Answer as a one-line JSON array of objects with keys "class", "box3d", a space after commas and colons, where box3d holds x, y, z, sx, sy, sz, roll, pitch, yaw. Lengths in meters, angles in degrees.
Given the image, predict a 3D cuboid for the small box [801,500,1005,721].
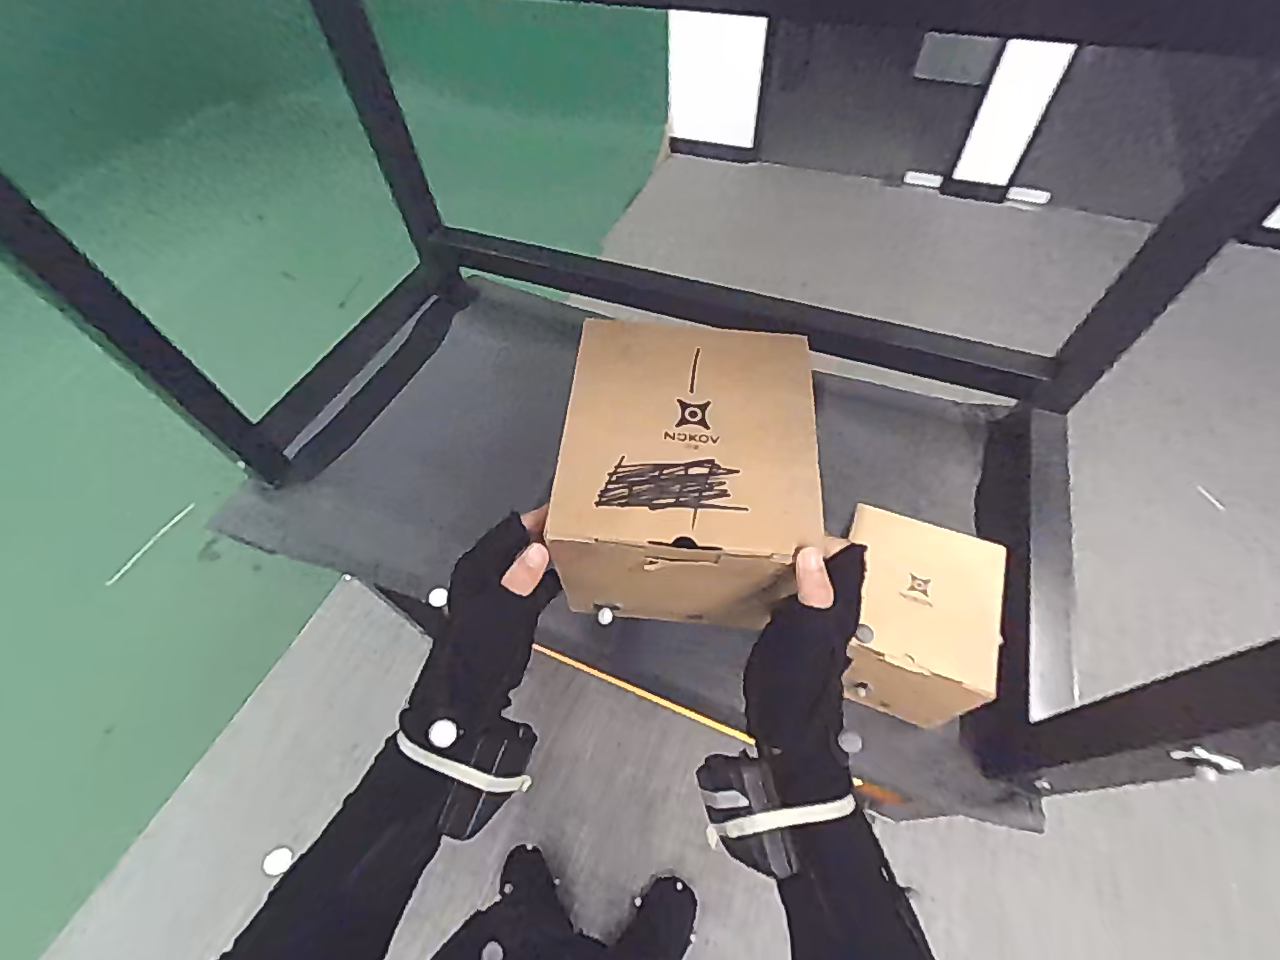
[{"class": "small box", "box3d": [0.304, 0.159, 0.647, 0.168, 0.176, 0.179, 18, 59, 16]}]
